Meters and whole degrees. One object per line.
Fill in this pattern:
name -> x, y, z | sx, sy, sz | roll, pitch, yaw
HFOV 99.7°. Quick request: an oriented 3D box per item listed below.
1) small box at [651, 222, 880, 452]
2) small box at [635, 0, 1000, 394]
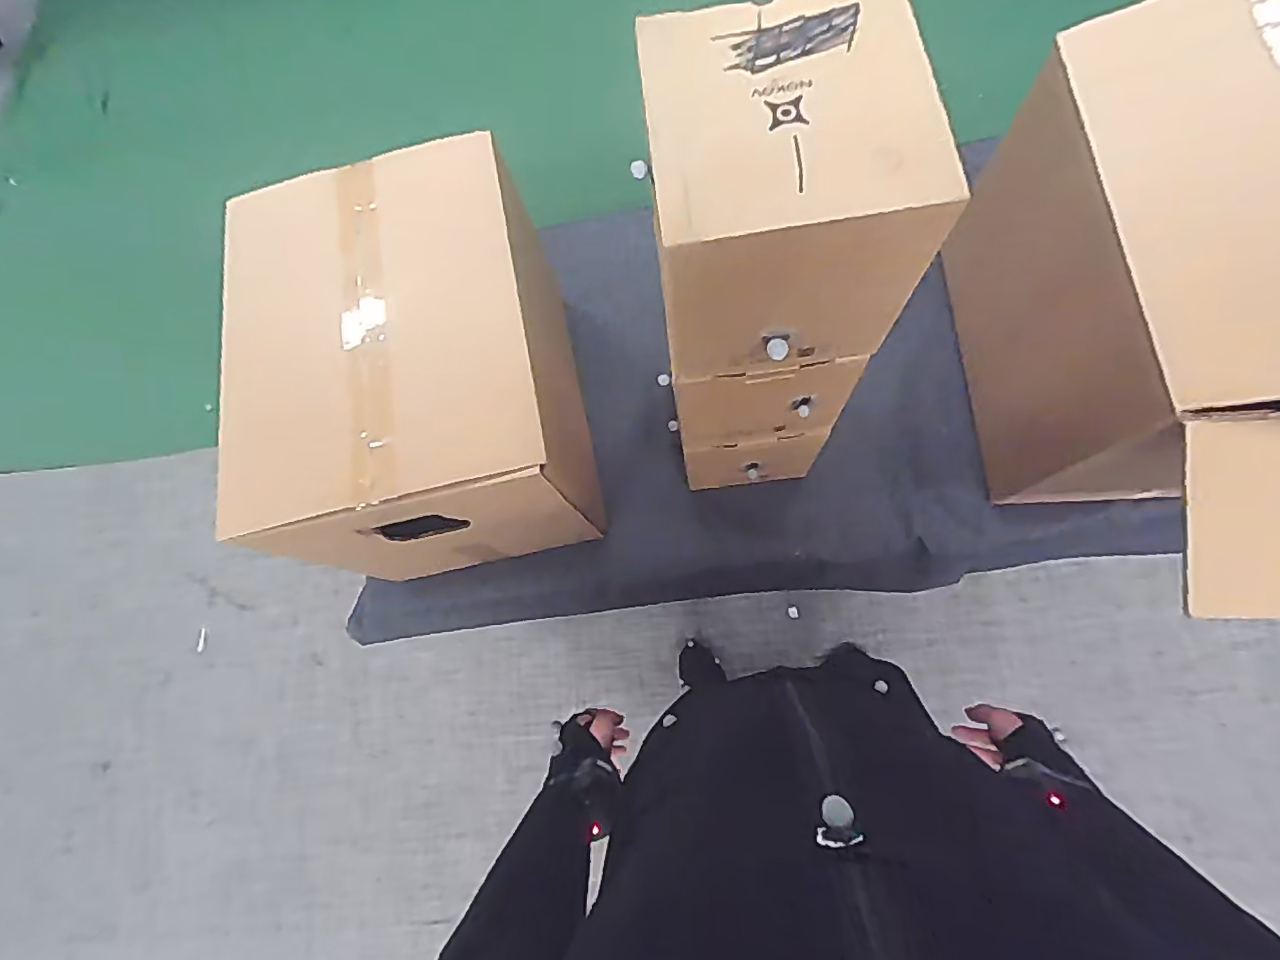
small box -> 0.108, -0.134, 0.520 | 0.168, 0.176, 0.179 | -8, 73, 4
small box -> 0.092, -0.178, 0.362 | 0.168, 0.176, 0.179 | -7, 75, 5
